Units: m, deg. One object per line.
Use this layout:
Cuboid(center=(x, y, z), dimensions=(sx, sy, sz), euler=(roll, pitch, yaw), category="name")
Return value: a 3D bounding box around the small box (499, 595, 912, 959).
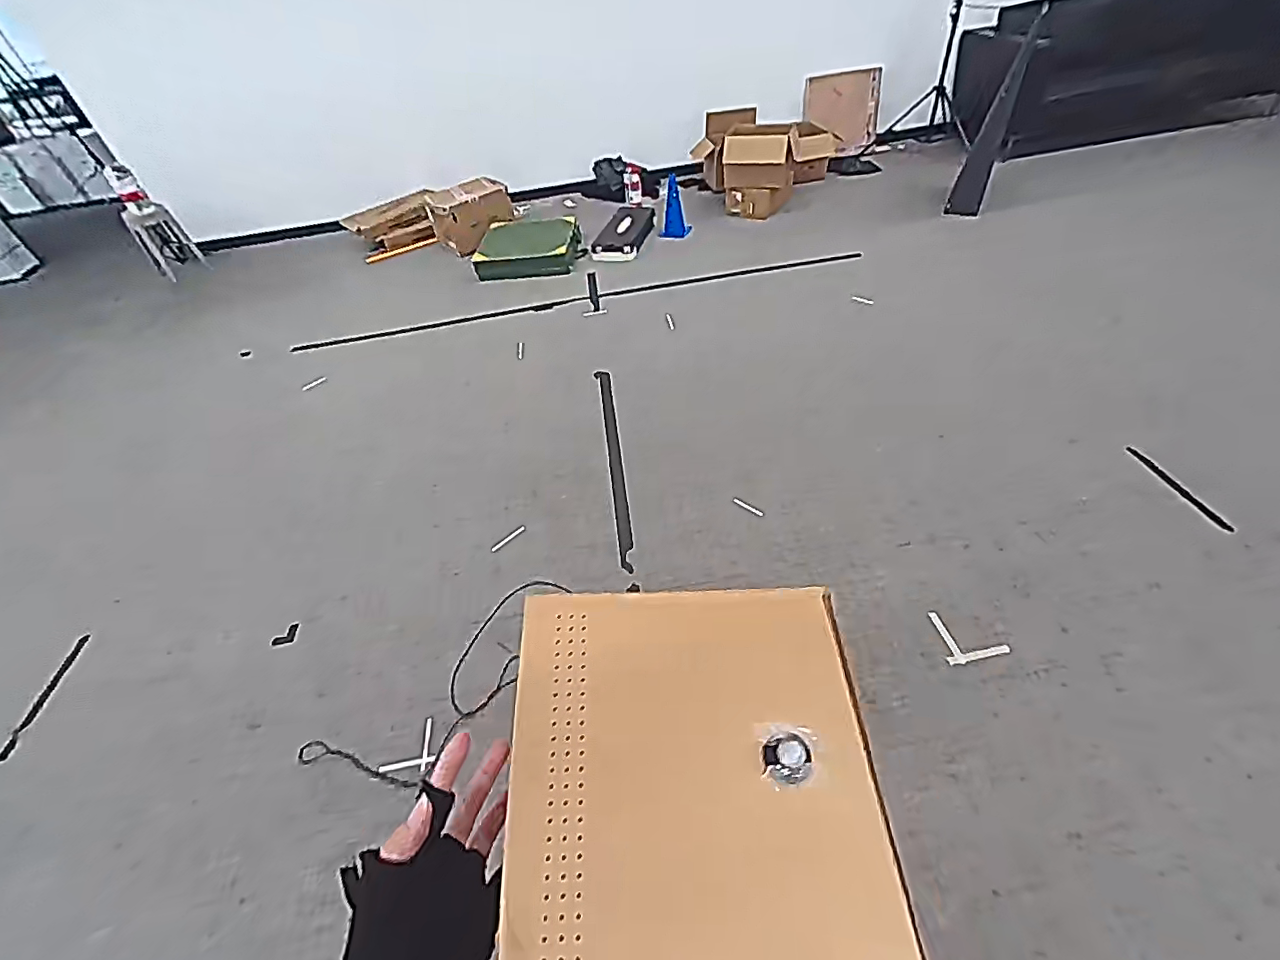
Cuboid(center=(0.018, 0.183, 0.317), dimensions=(0.176, 0.168, 0.179), euler=(-2, 54, -2), category="small box")
